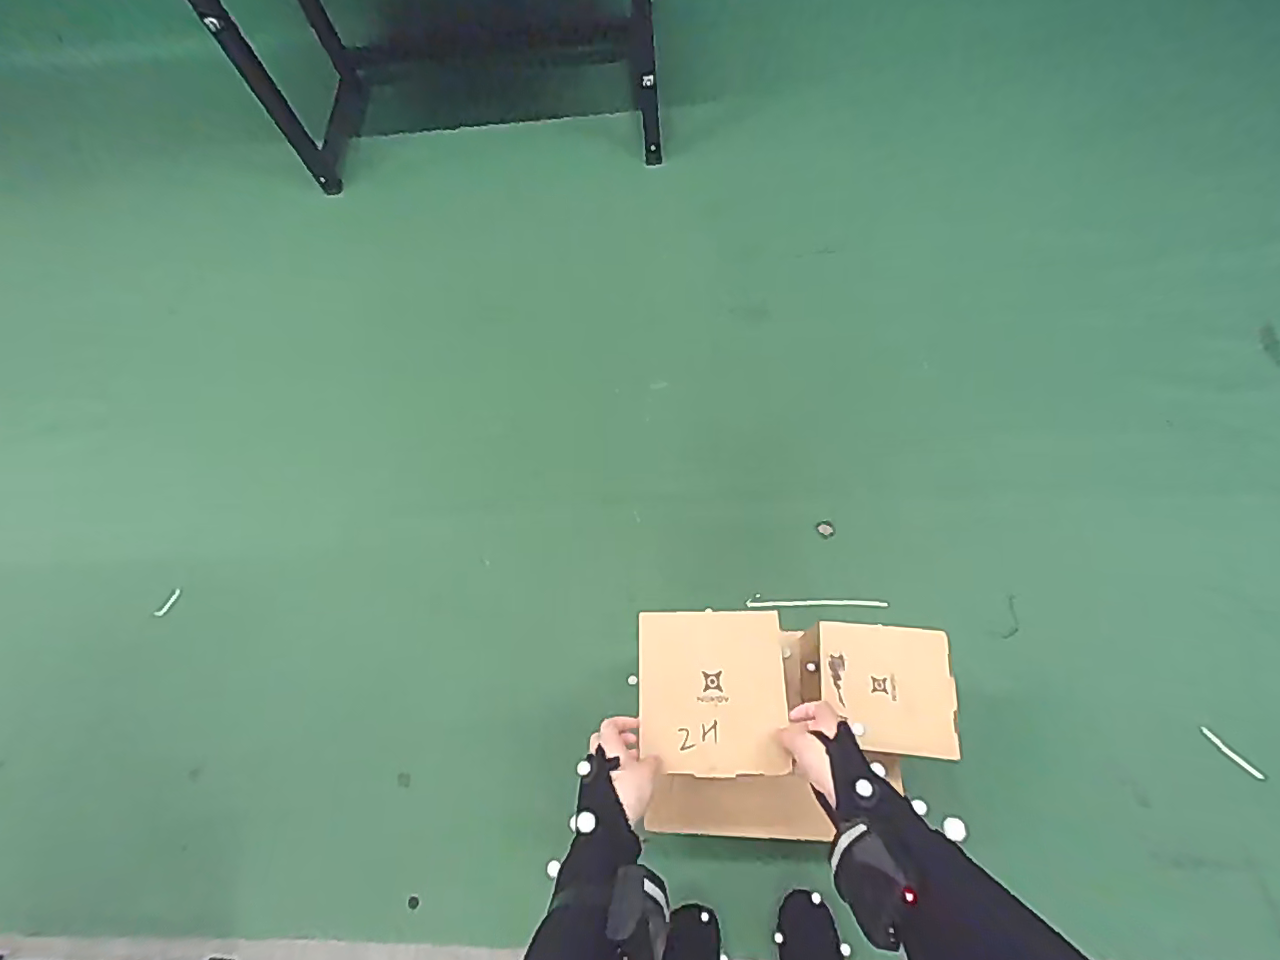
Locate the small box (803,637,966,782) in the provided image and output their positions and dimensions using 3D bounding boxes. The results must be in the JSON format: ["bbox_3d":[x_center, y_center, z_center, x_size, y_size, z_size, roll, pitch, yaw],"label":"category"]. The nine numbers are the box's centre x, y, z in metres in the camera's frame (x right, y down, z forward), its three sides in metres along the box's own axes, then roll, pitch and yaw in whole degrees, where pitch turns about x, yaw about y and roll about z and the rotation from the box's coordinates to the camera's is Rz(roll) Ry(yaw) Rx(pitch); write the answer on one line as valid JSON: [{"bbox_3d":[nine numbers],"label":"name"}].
[{"bbox_3d":[0.343,0.333,0.795,0.179,0.176,0.168,3,66,9],"label":"small box"}]

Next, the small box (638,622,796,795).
[{"bbox_3d":[0.086,0.278,0.666,0.168,0.176,0.179,-2,67,4],"label":"small box"}]

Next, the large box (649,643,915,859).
[{"bbox_3d":[0.223,0.486,1.008,0.408,0.320,0.320,-1,67,5],"label":"large box"}]
